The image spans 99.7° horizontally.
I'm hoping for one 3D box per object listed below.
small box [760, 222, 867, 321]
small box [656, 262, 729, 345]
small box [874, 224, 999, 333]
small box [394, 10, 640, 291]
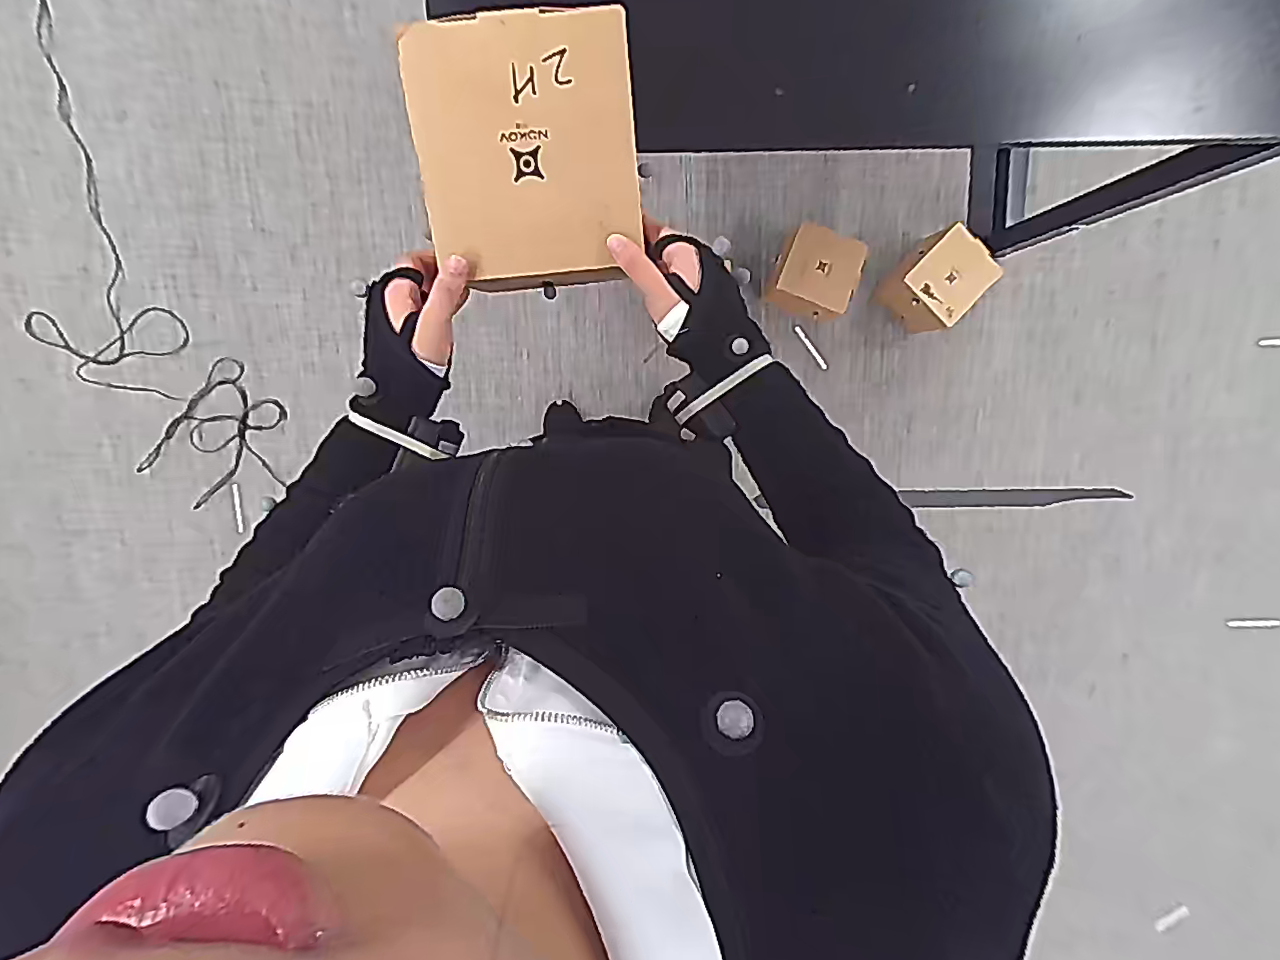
[{"bbox_3d":[0.418,-0.504,1.335,0.179,0.176,0.168,20,98,-3],"label":"small box"},{"bbox_3d":[0.126,-0.432,1.344,0.168,0.176,0.179,-2,101,0],"label":"small box"},{"bbox_3d":[0.721,-0.487,1.338,0.168,0.176,0.179,42,97,-6],"label":"small box"},{"bbox_3d":[-0.090,-0.267,0.484,0.168,0.176,0.179,-6,106,-1],"label":"small box"}]
